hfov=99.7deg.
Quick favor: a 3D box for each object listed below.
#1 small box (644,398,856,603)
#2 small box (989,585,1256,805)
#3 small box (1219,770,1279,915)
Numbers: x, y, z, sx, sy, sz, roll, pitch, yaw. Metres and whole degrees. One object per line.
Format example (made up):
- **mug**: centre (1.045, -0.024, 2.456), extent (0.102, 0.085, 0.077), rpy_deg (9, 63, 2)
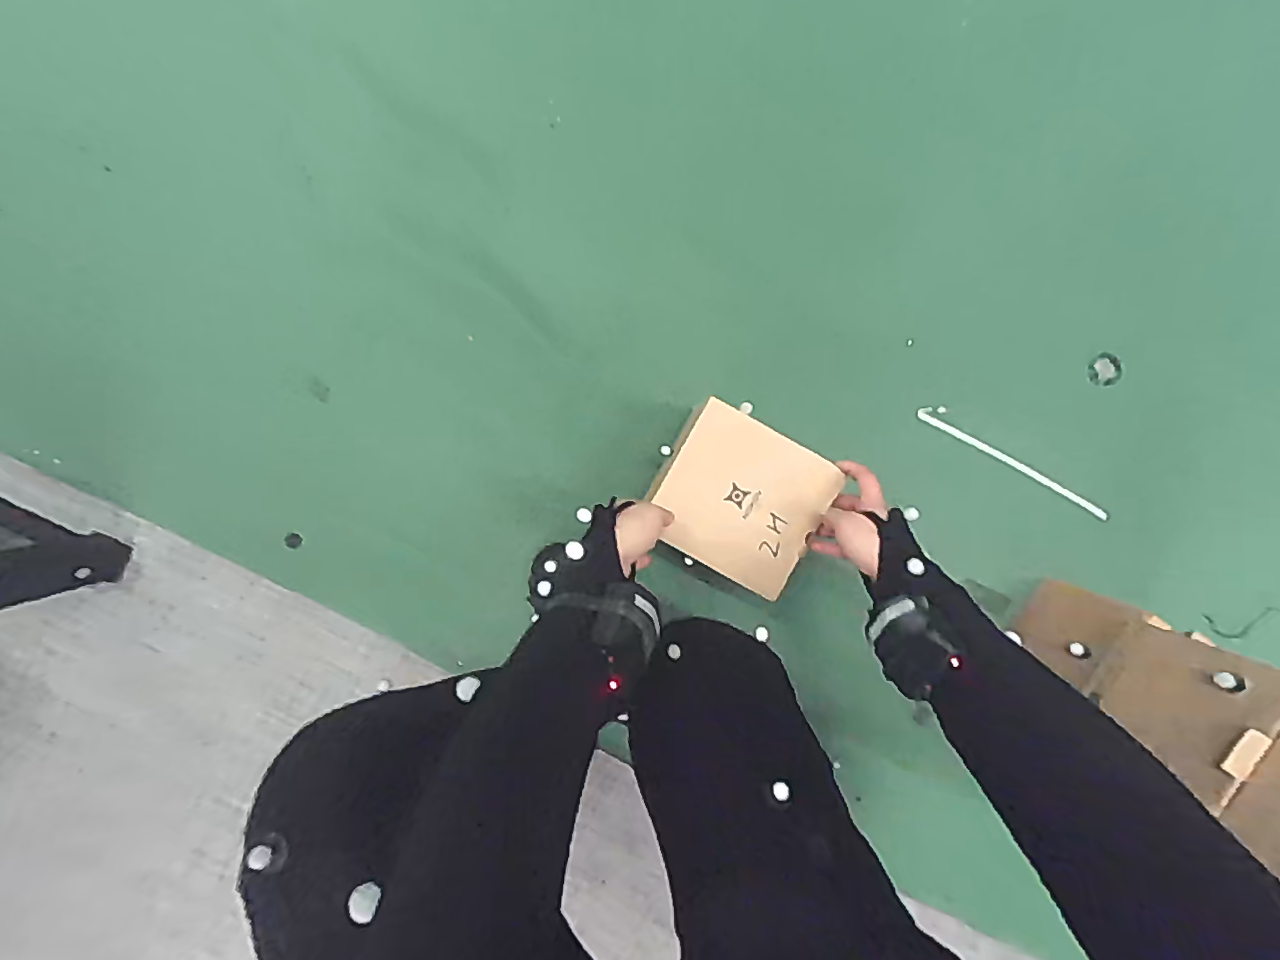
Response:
- **small box**: centre (0.118, 0.018, 0.660), extent (0.179, 0.176, 0.168), rpy_deg (30, 96, -2)
- **small box**: centre (0.614, 0.271, 0.720), extent (0.168, 0.176, 0.179), rpy_deg (35, 94, -4)
- **small box**: centre (0.606, 0.305, 0.393), extent (0.168, 0.176, 0.179), rpy_deg (31, 93, -4)
